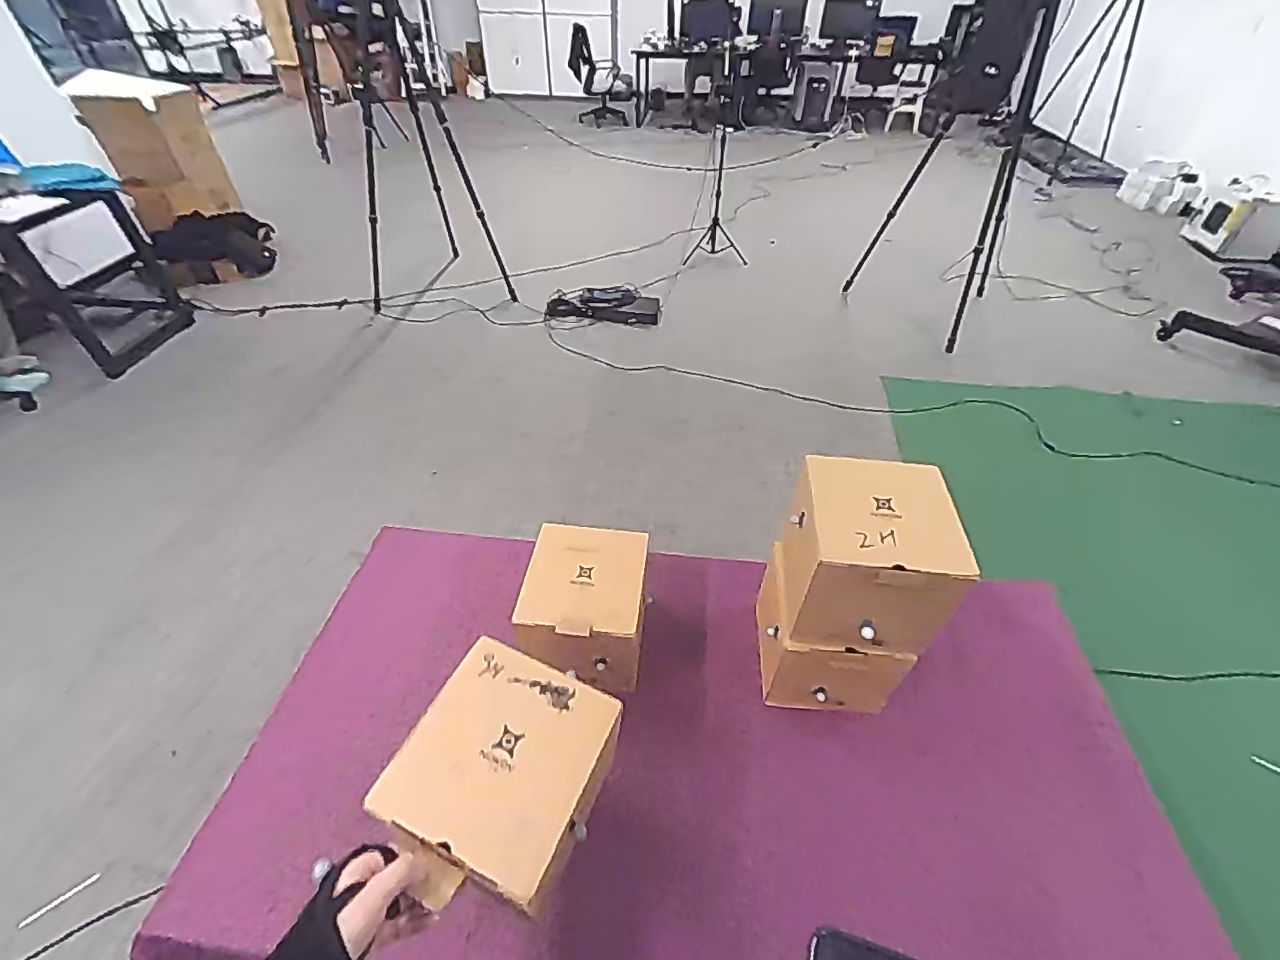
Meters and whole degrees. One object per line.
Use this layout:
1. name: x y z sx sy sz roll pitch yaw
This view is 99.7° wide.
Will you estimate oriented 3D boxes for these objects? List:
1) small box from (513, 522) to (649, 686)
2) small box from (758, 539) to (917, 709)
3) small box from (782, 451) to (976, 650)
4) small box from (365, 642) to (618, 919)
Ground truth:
1. small box: -0.077 0.189 0.815 0.168 0.176 0.179 6 44 4
2. small box: 0.271 0.210 0.793 0.168 0.176 0.179 3 45 3
3. small box: 0.279 0.088 0.682 0.168 0.176 0.179 5 45 5
4. small box: -0.133 0.307 0.552 0.168 0.176 0.179 21 48 13
